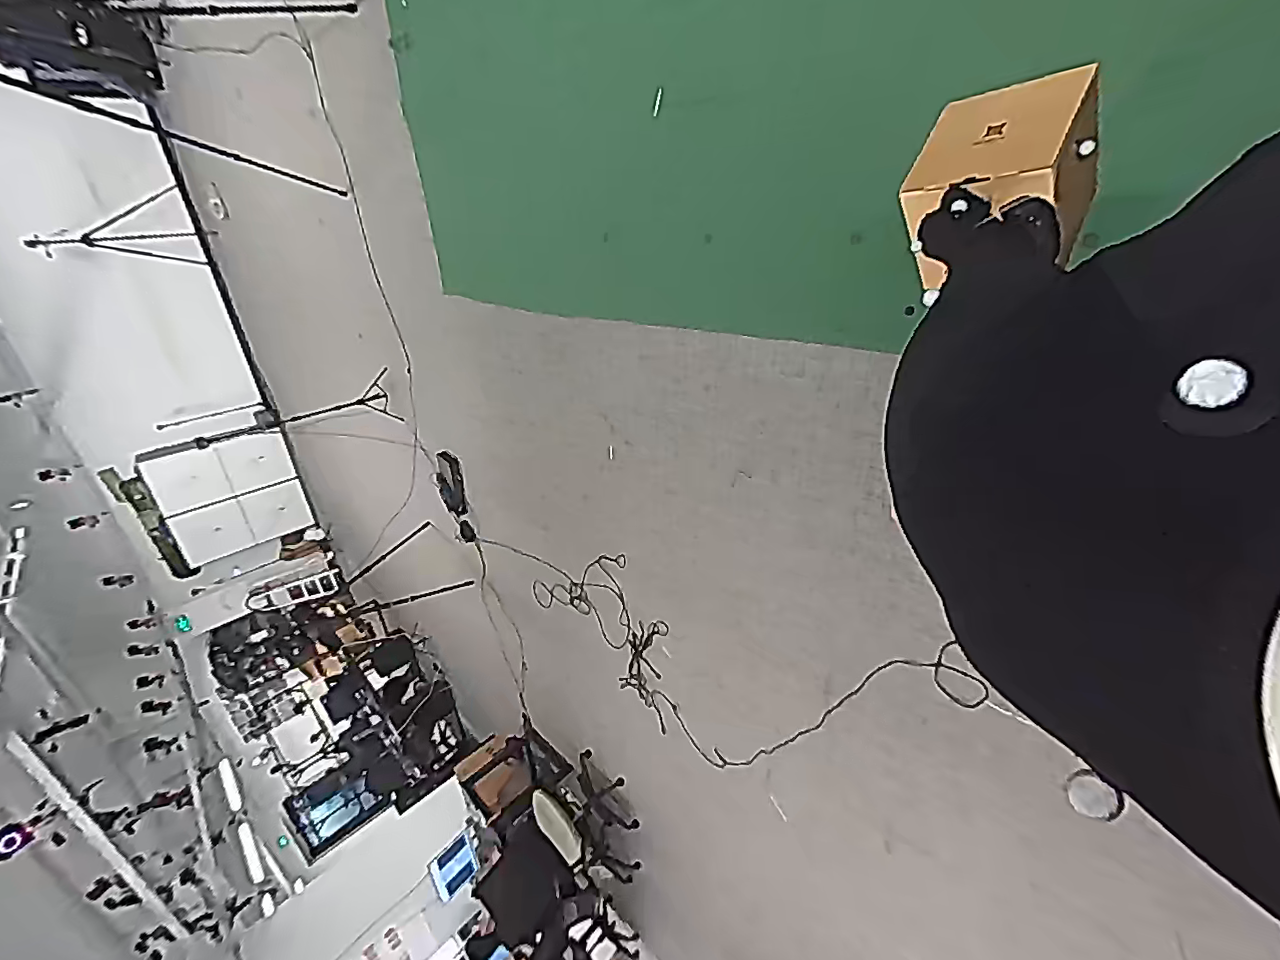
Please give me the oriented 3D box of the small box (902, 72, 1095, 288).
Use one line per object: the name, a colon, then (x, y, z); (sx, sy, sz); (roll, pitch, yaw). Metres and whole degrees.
small box: (0.482, -0.385, 0.727); (0.168, 0.179, 0.176); (15, 161, 45)
